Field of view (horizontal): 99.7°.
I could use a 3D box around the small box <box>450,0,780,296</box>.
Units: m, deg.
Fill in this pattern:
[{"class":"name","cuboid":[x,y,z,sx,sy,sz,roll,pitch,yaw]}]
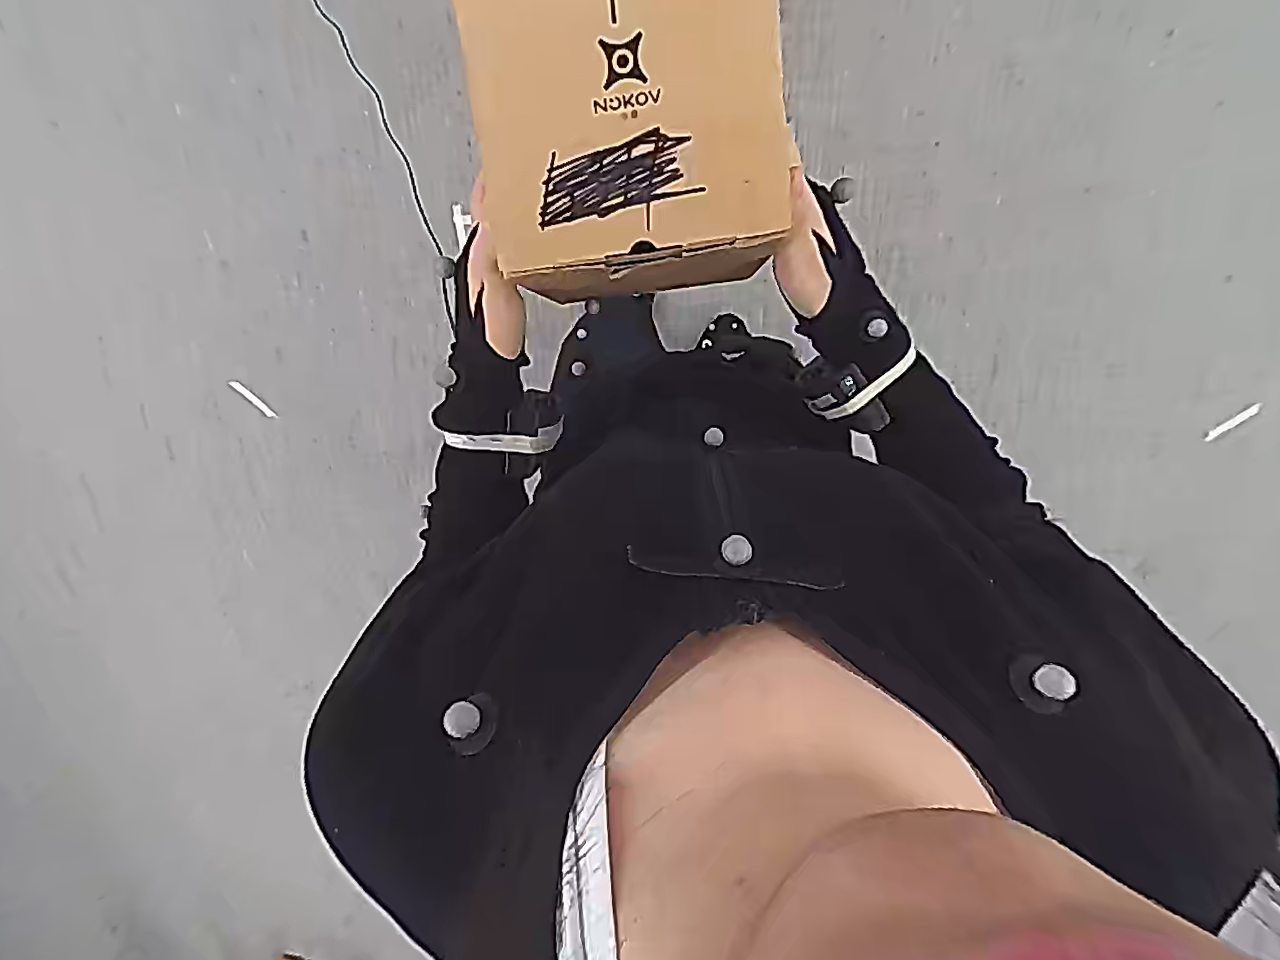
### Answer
[{"class":"small box","cuboid":[-0.007,-0.226,0.363,0.168,0.176,0.179,-7,101,5]}]
